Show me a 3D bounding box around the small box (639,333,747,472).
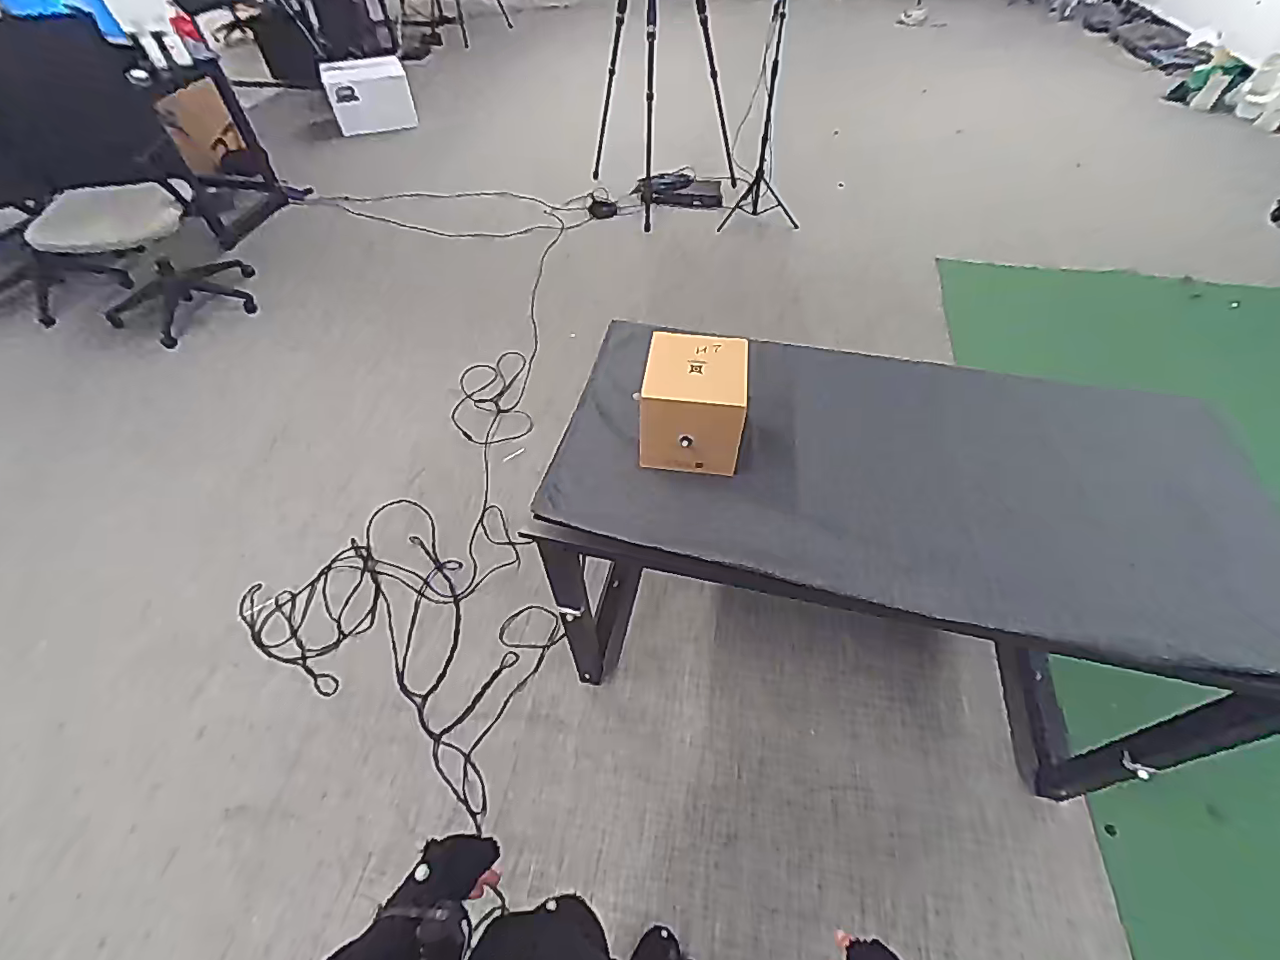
[{"bbox_3d":[0.093,-0.132,0.943,0.168,0.176,0.179,6,50,5],"label":"small box"}]
